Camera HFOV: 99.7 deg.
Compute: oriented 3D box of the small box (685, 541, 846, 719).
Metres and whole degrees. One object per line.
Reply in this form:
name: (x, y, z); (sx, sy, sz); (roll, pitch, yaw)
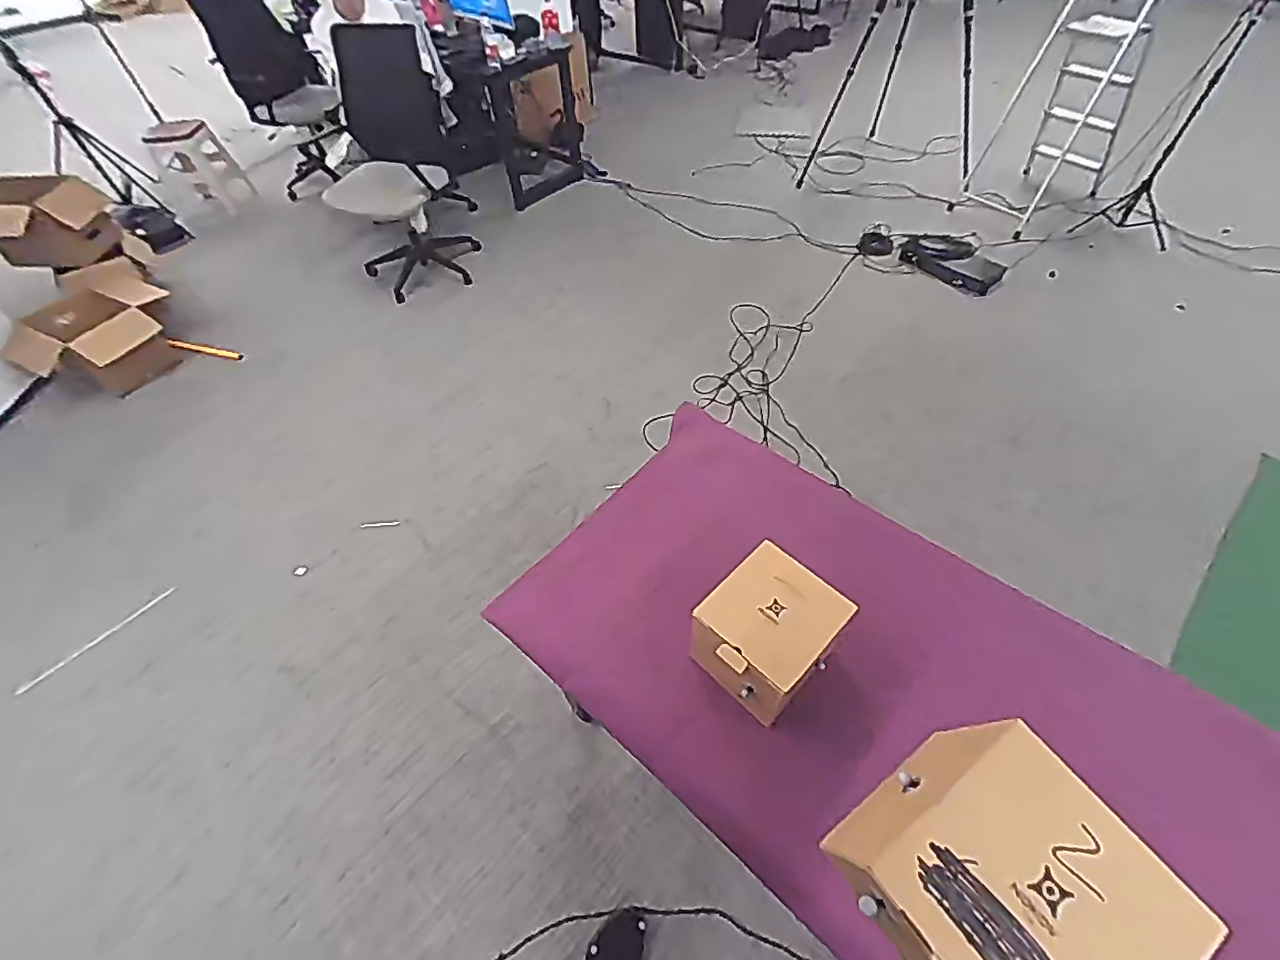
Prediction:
small box: (0.186, 0.237, 0.843); (0.179, 0.176, 0.168); (-38, 60, -24)
